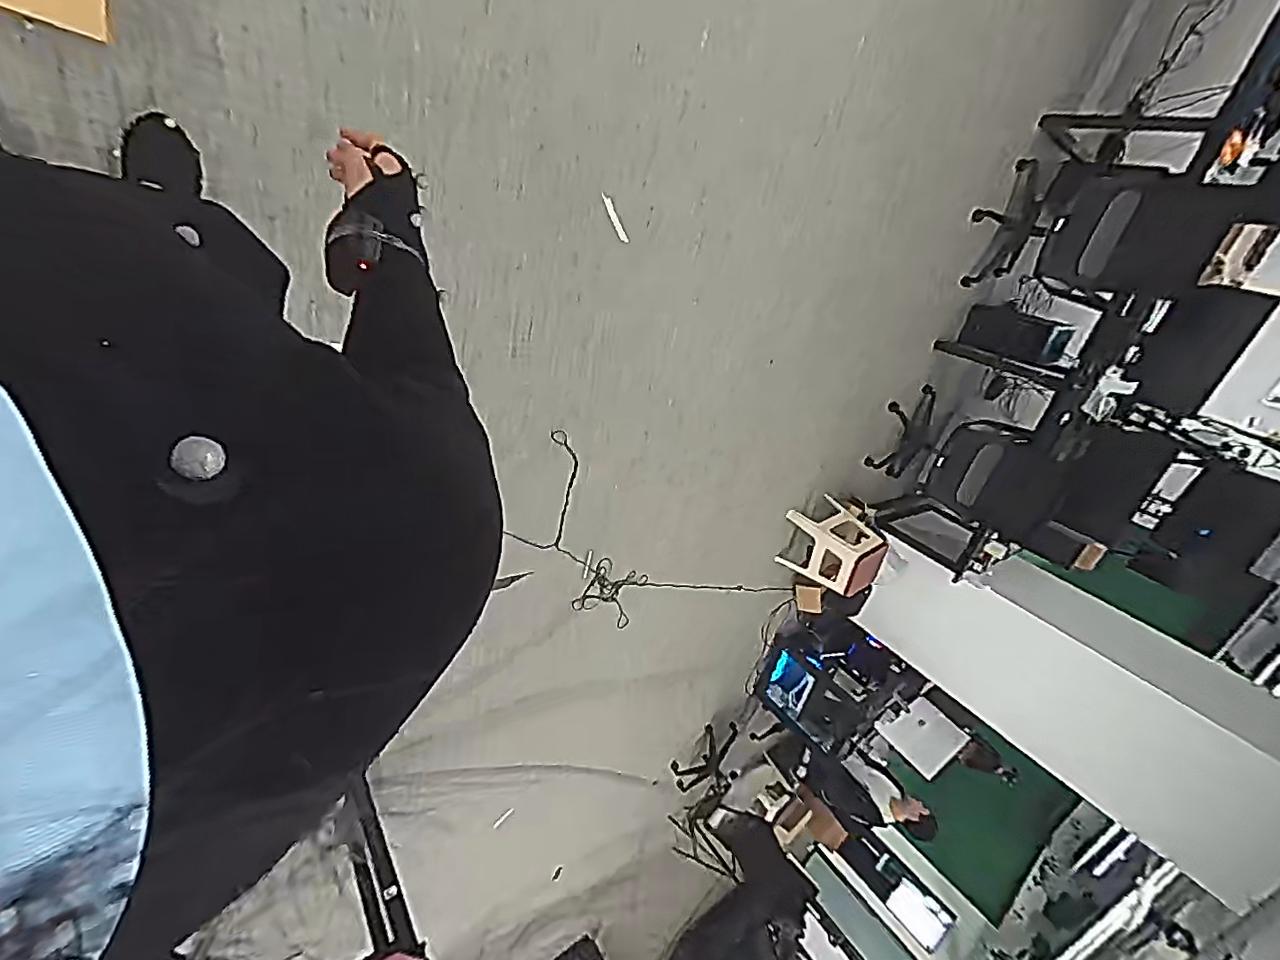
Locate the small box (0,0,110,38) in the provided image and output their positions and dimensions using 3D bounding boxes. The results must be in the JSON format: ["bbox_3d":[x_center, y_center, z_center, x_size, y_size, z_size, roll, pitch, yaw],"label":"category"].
[{"bbox_3d":[-0.880,-0.771,0.771,0.168,0.176,0.179,-3,120,-42],"label":"small box"}]
